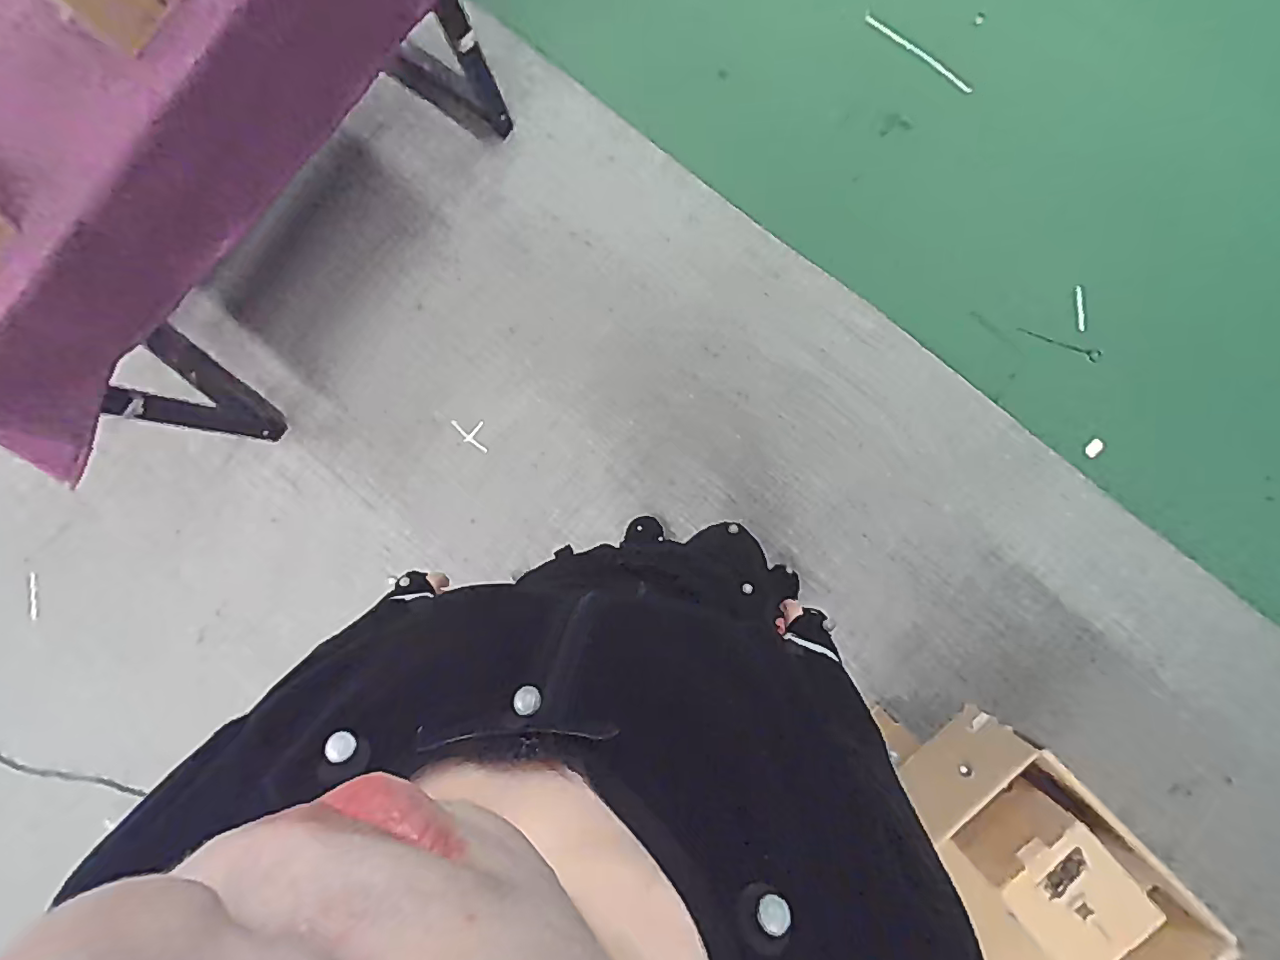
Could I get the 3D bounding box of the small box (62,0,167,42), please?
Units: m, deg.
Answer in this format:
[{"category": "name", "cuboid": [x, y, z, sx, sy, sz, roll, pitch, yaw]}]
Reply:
[{"category": "small box", "cuboid": [-0.838, -0.804, 0.792, 0.179, 0.176, 0.168, 38, 89, 4]}]
